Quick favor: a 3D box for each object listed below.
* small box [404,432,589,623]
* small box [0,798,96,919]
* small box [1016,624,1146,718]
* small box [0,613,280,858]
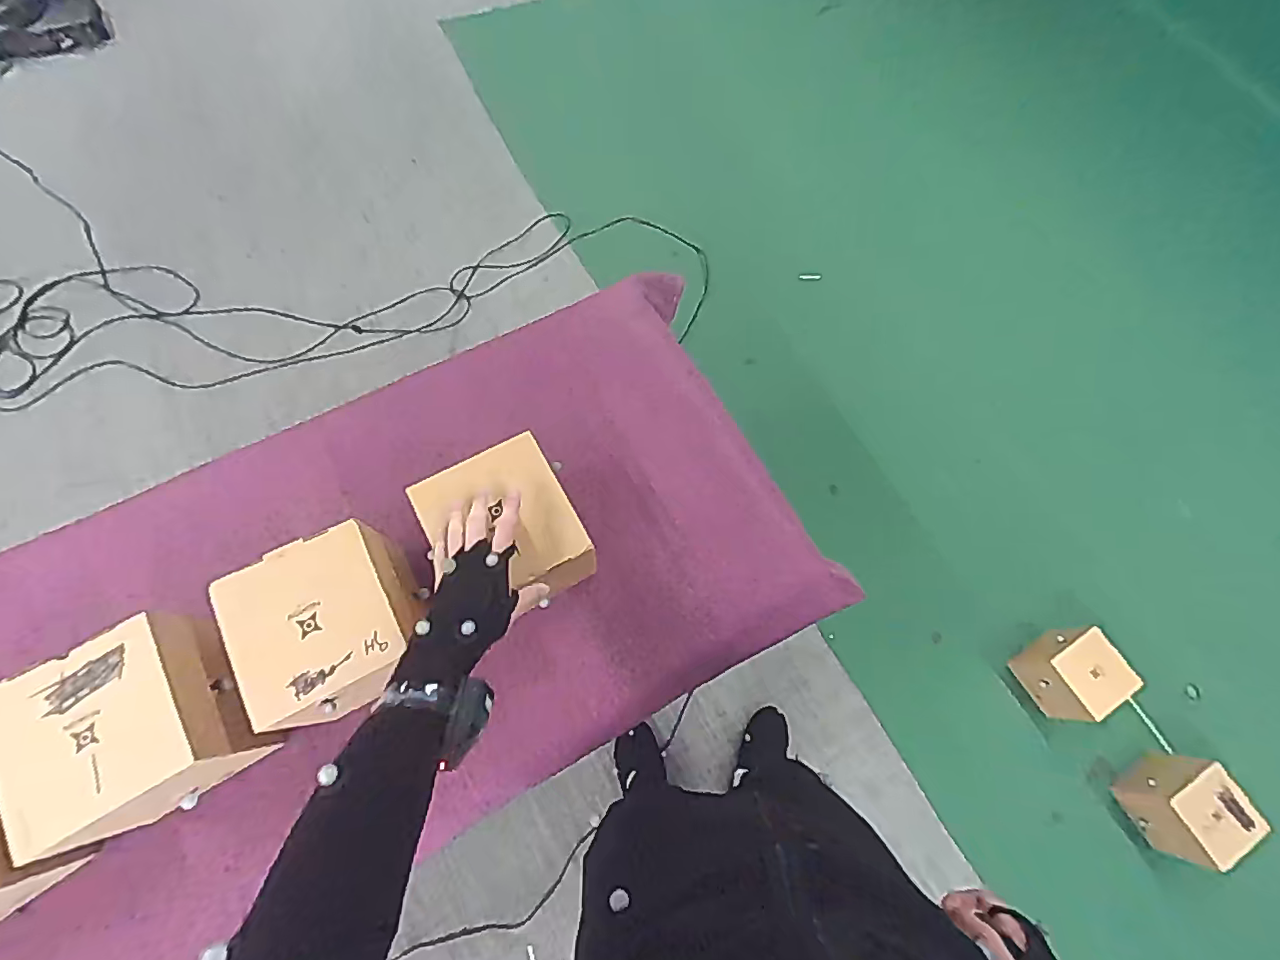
[{"bbox_3d":[-0.178,0.072,0.718,0.168,0.176,0.179,-28,75,-11],"label":"small box"},{"bbox_3d":[-0.754,0.393,0.571,0.168,0.176,0.179,-34,76,-13],"label":"small box"},{"bbox_3d":[1.132,0.498,1.410,0.179,0.176,0.168,-28,74,-13],"label":"small box"},{"bbox_3d":[-0.564,0.278,0.623,0.168,0.176,0.179,-29,76,-12],"label":"small box"}]
